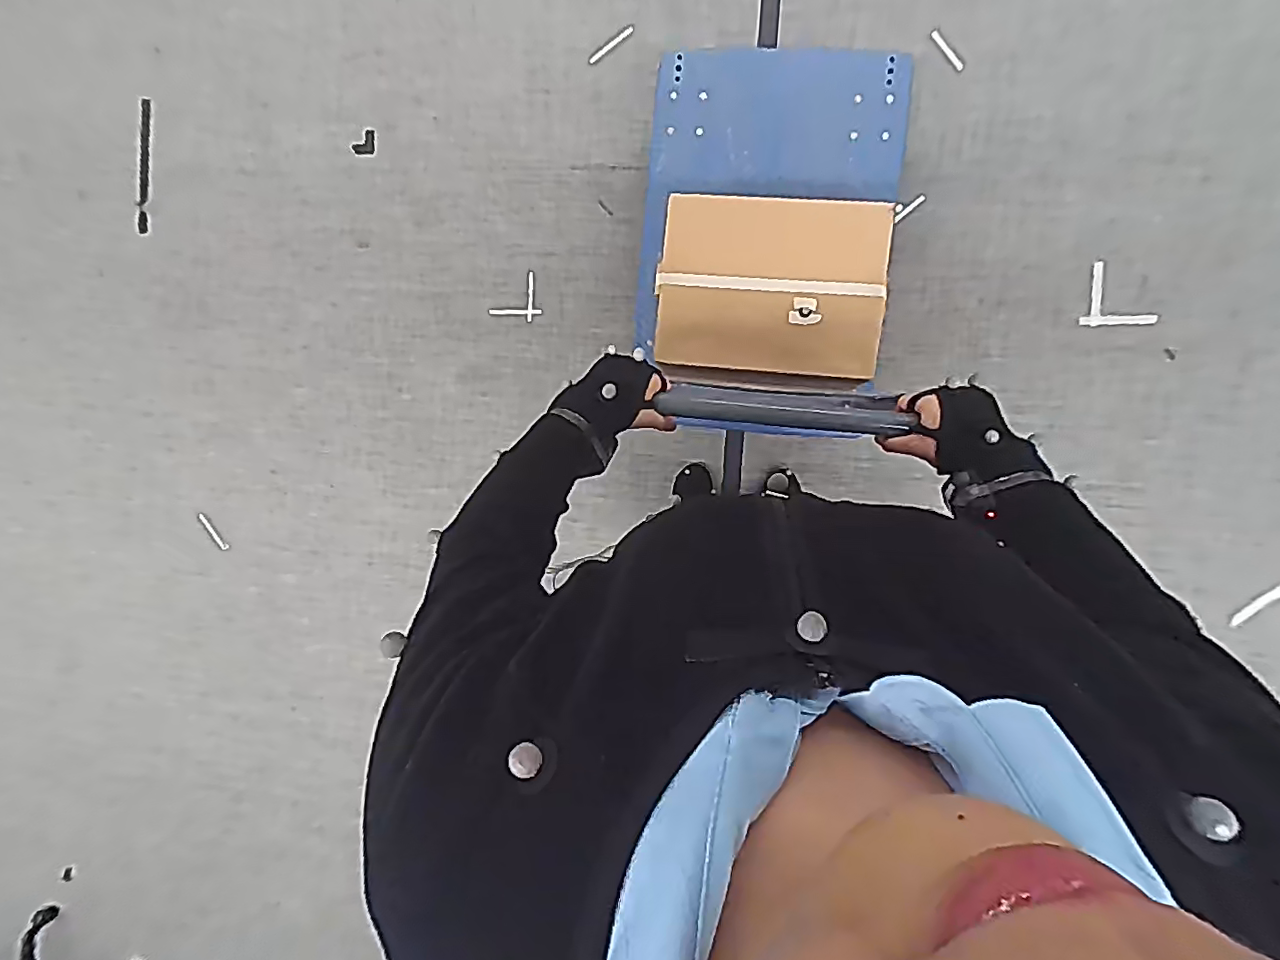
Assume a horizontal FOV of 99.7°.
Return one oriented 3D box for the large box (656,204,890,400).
[{"bbox_3d":[0.251,-0.348,1.132,0.408,0.320,0.320,6,94,6],"label":"large box"}]
